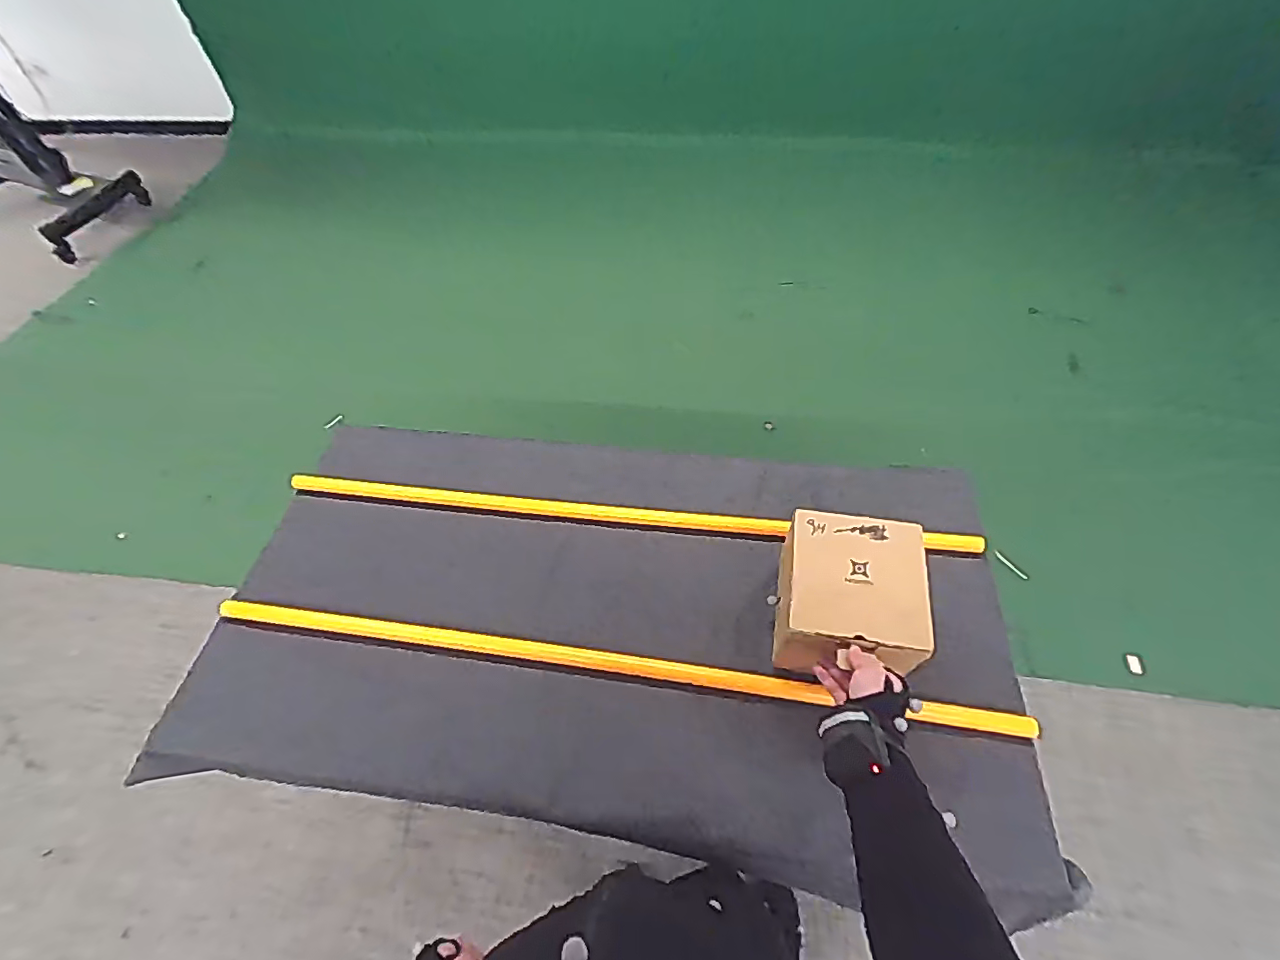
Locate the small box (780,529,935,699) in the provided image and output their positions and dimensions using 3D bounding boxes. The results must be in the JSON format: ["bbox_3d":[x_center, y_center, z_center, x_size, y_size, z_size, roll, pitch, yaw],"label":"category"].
[{"bbox_3d":[0.289,0.190,0.755,0.168,0.176,0.179,3,54,11],"label":"small box"}]
